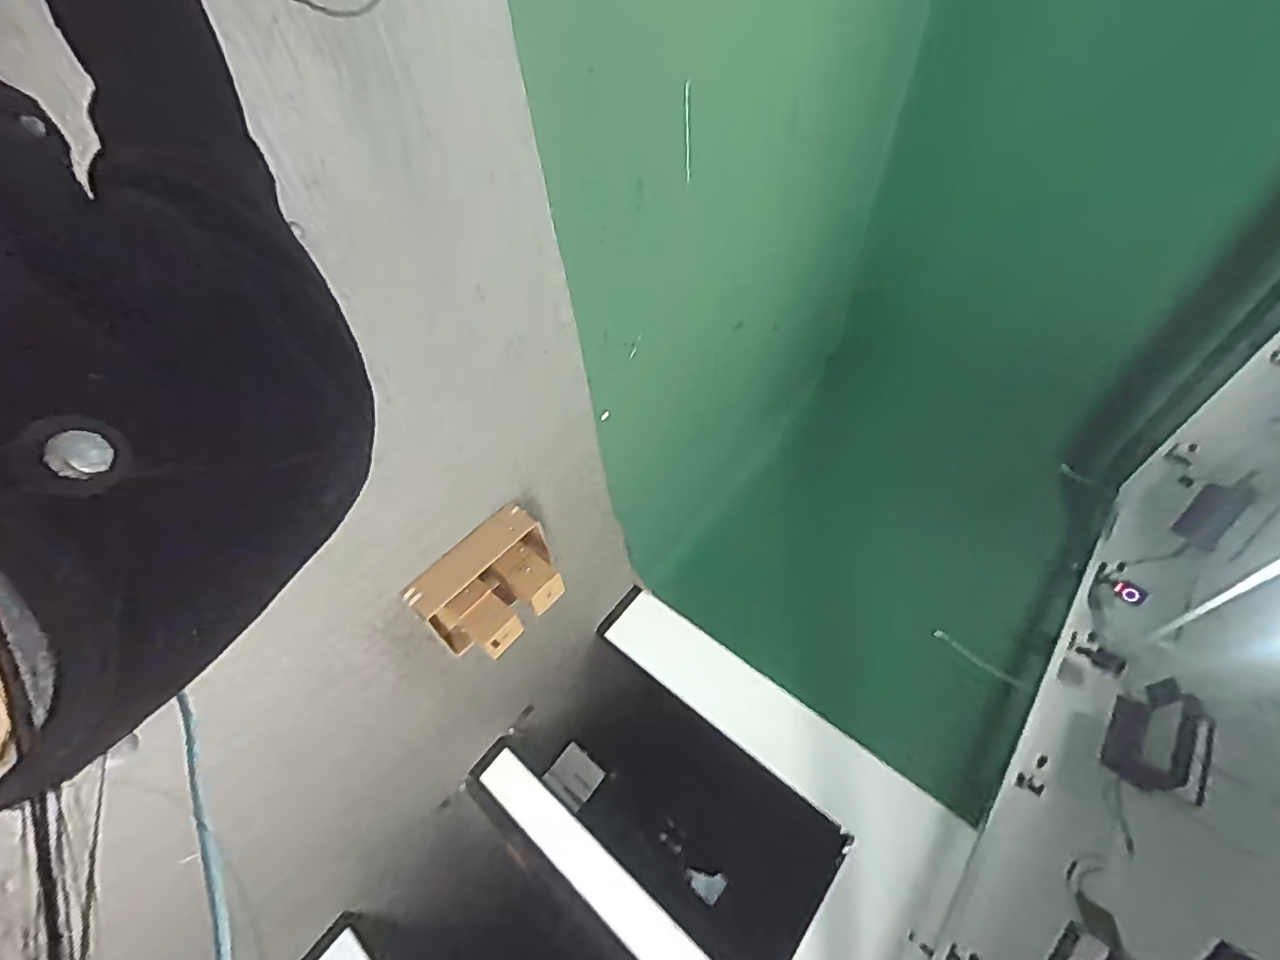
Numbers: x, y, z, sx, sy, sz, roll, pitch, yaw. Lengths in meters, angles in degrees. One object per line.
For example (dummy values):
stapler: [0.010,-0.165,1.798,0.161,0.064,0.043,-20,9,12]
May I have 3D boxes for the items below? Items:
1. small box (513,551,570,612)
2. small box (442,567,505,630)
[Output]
small box: [-0.439,0.449,2.412,0.168,0.176,0.179,-43,149,-28]
small box: [-0.727,0.513,2.364,0.179,0.176,0.168,-47,150,-26]
